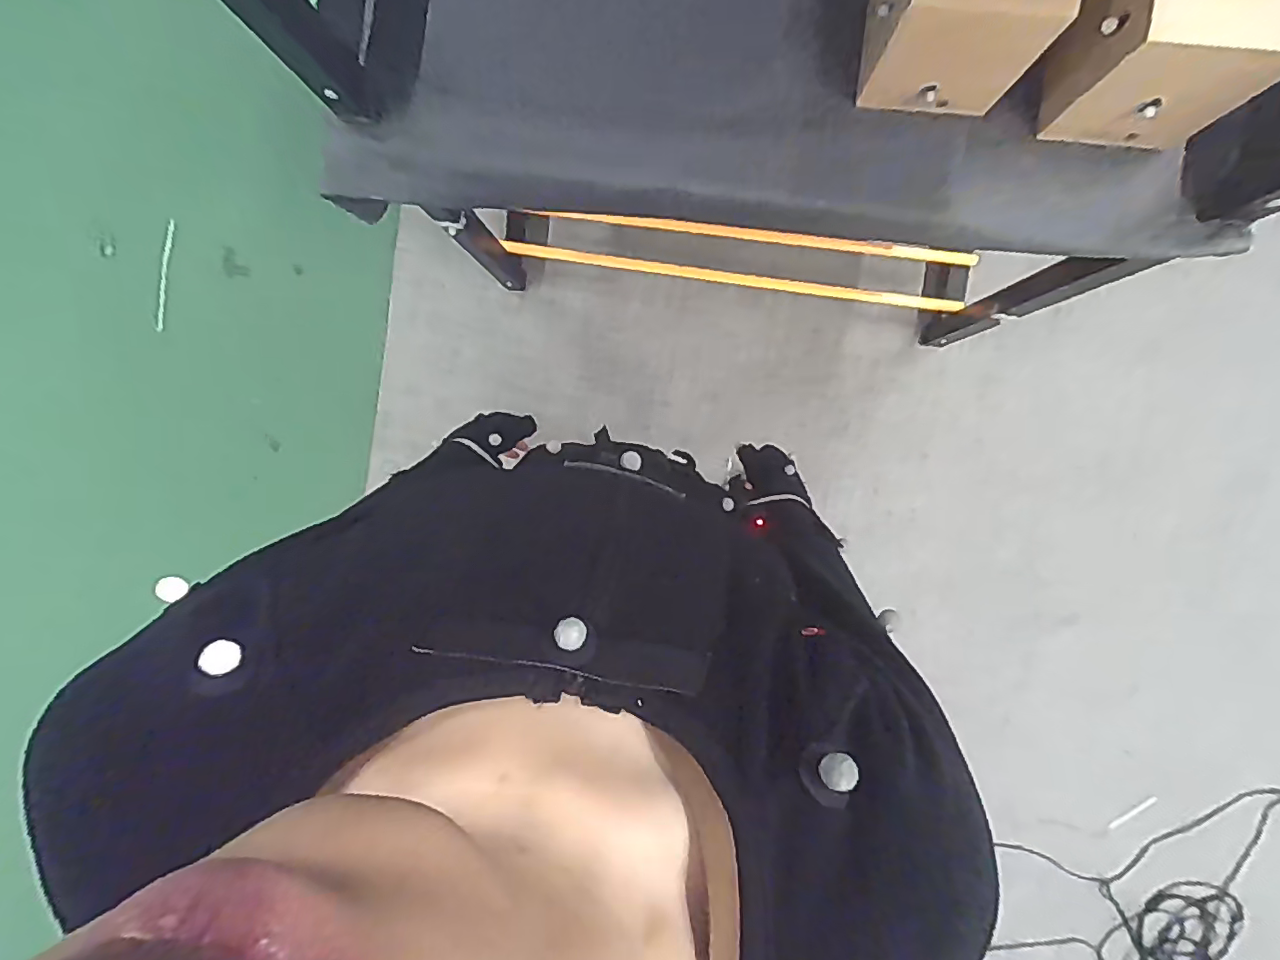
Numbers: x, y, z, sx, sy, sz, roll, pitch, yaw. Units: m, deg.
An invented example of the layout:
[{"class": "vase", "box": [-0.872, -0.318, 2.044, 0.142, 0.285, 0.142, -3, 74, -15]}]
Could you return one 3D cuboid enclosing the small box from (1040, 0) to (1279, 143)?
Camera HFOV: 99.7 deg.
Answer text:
[{"class": "small box", "box": [0.591, -0.513, 0.604, 0.168, 0.176, 0.179, 7, 93, 3]}]
